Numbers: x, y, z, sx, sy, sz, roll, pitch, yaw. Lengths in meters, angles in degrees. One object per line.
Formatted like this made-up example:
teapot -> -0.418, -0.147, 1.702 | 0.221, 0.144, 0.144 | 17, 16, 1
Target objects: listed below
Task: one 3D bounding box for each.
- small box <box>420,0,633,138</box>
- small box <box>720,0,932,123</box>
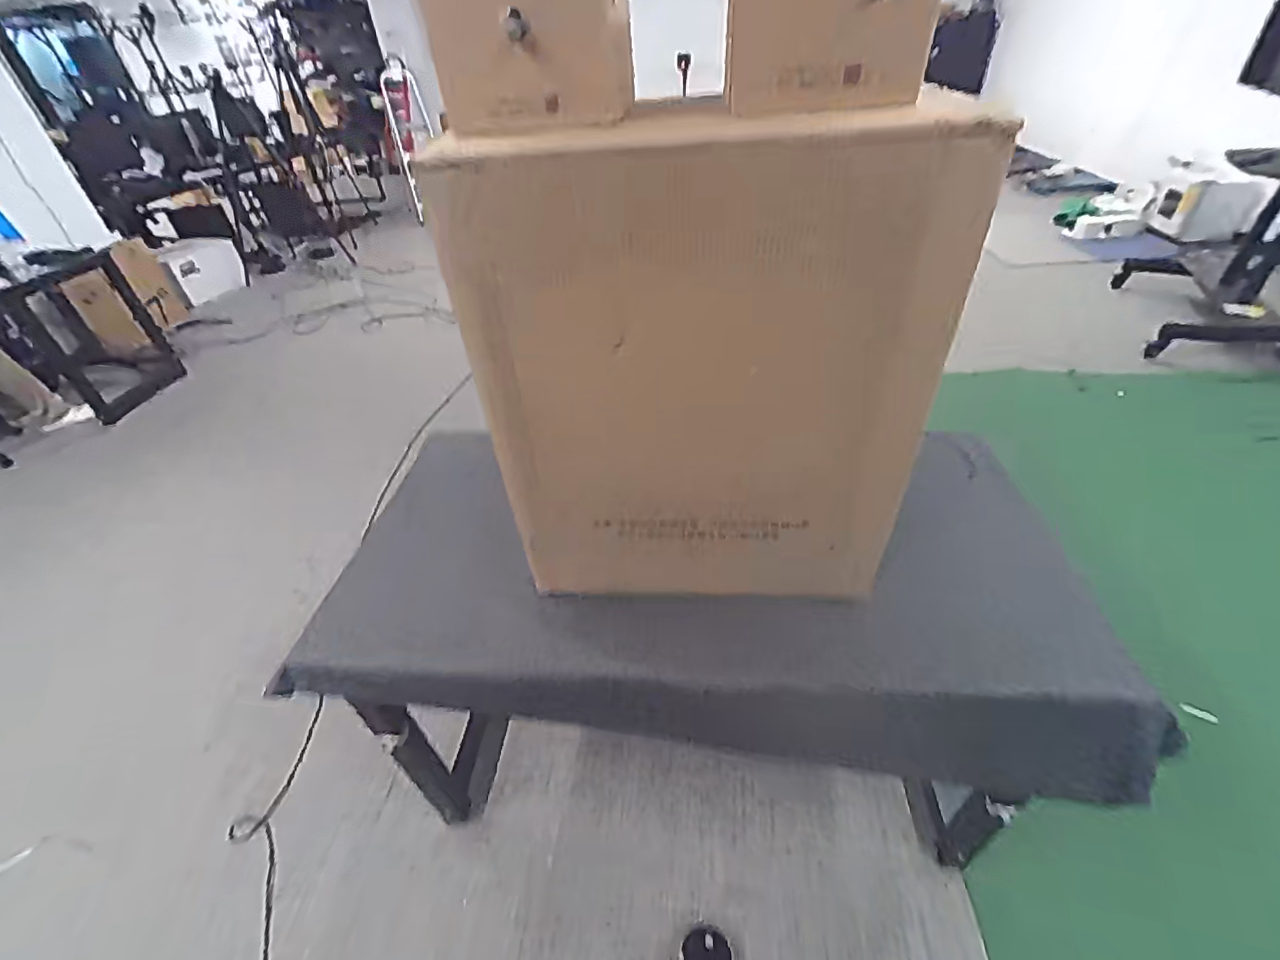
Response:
small box -> -0.099, -0.445, 0.529 | 0.168, 0.176, 0.179 | 0, 42, 6
small box -> 0.164, -0.440, 0.501 | 0.168, 0.176, 0.179 | 2, 41, 4
